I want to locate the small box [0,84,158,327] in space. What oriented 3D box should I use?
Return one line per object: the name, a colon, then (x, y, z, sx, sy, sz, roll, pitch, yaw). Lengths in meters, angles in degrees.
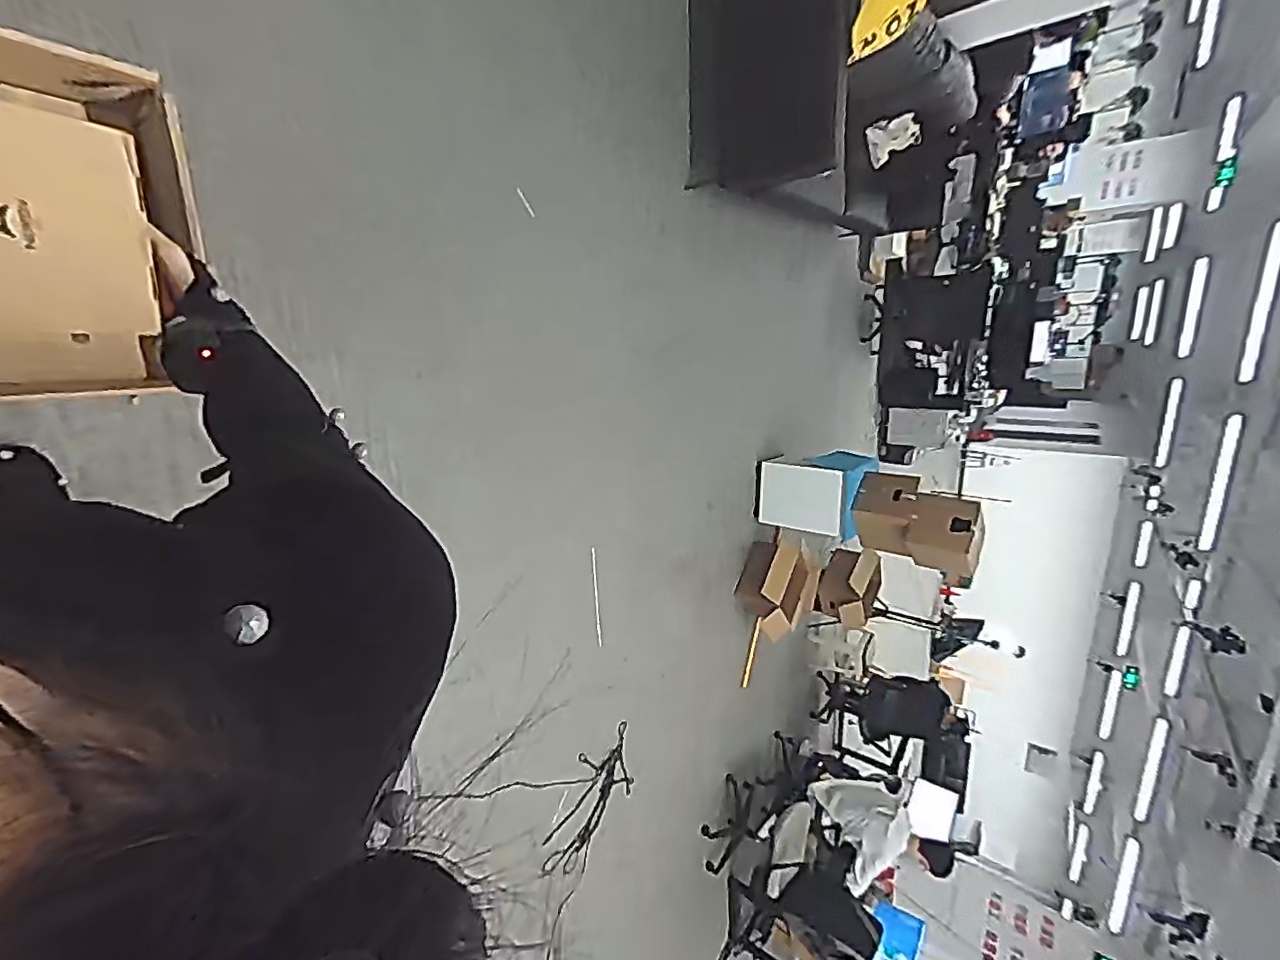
small box: (-0.536, -0.222, 0.437, 0.179, 0.176, 0.168, -14, 116, -51)
